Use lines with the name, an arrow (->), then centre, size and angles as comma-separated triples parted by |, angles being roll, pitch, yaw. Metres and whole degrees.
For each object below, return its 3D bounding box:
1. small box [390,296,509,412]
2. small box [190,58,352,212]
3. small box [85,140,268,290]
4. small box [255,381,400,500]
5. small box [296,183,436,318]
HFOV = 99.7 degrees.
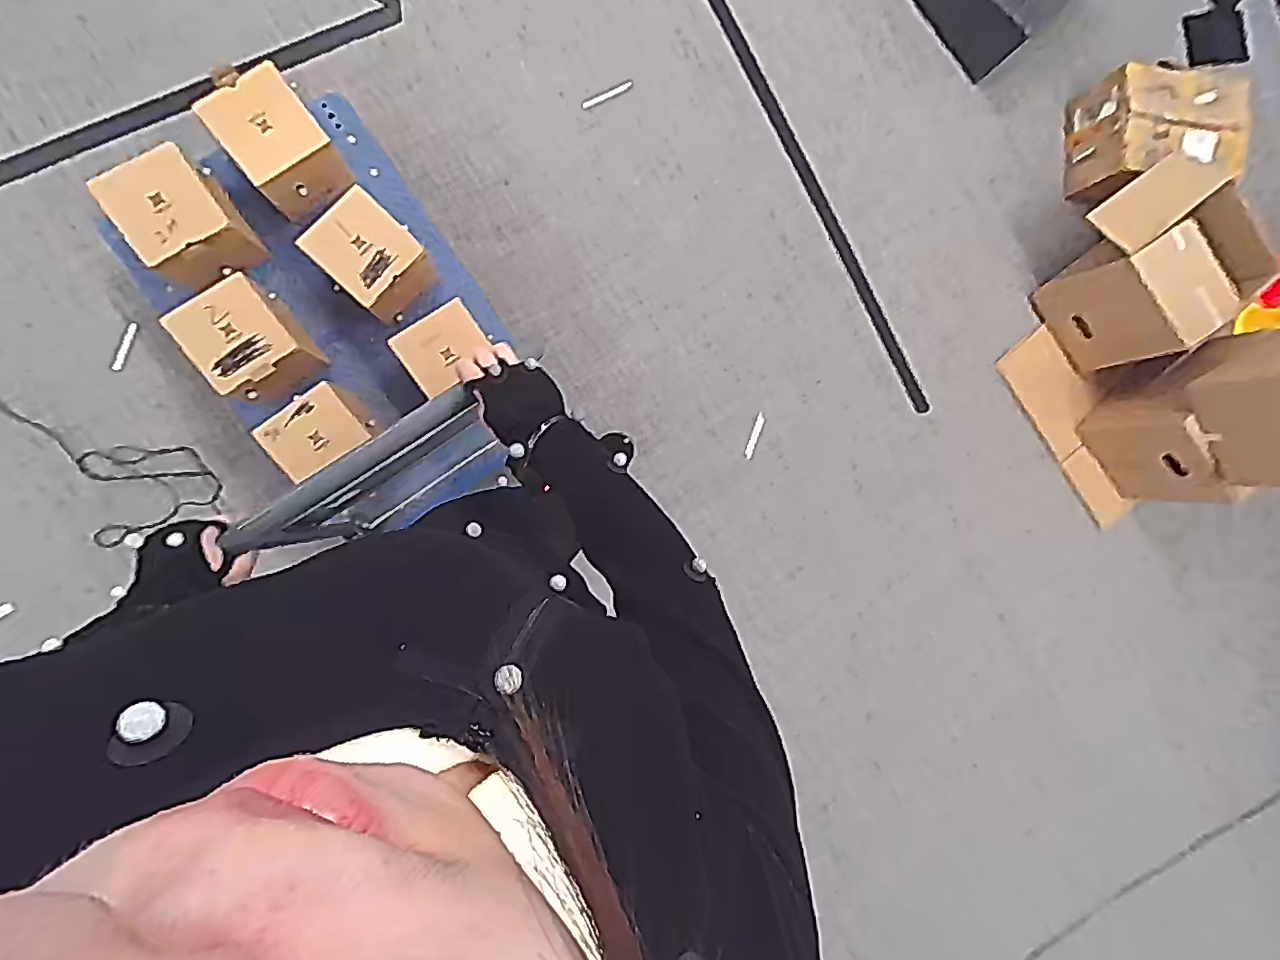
small box -> -0.397, -0.259, 1.163 | 0.168, 0.176, 0.179 | -36, 97, -9
small box -> -0.721, -0.671, 1.083 | 0.168, 0.176, 0.179 | -39, 98, -7
small box -> -0.886, -0.505, 1.055 | 0.168, 0.176, 0.179 | -34, 99, -8
small box -> -0.632, -0.081, 1.122 | 0.168, 0.176, 0.179 | -40, 99, -8
small box -> -0.553, -0.460, 1.124 | 0.179, 0.176, 0.168 | 43, 84, -9
